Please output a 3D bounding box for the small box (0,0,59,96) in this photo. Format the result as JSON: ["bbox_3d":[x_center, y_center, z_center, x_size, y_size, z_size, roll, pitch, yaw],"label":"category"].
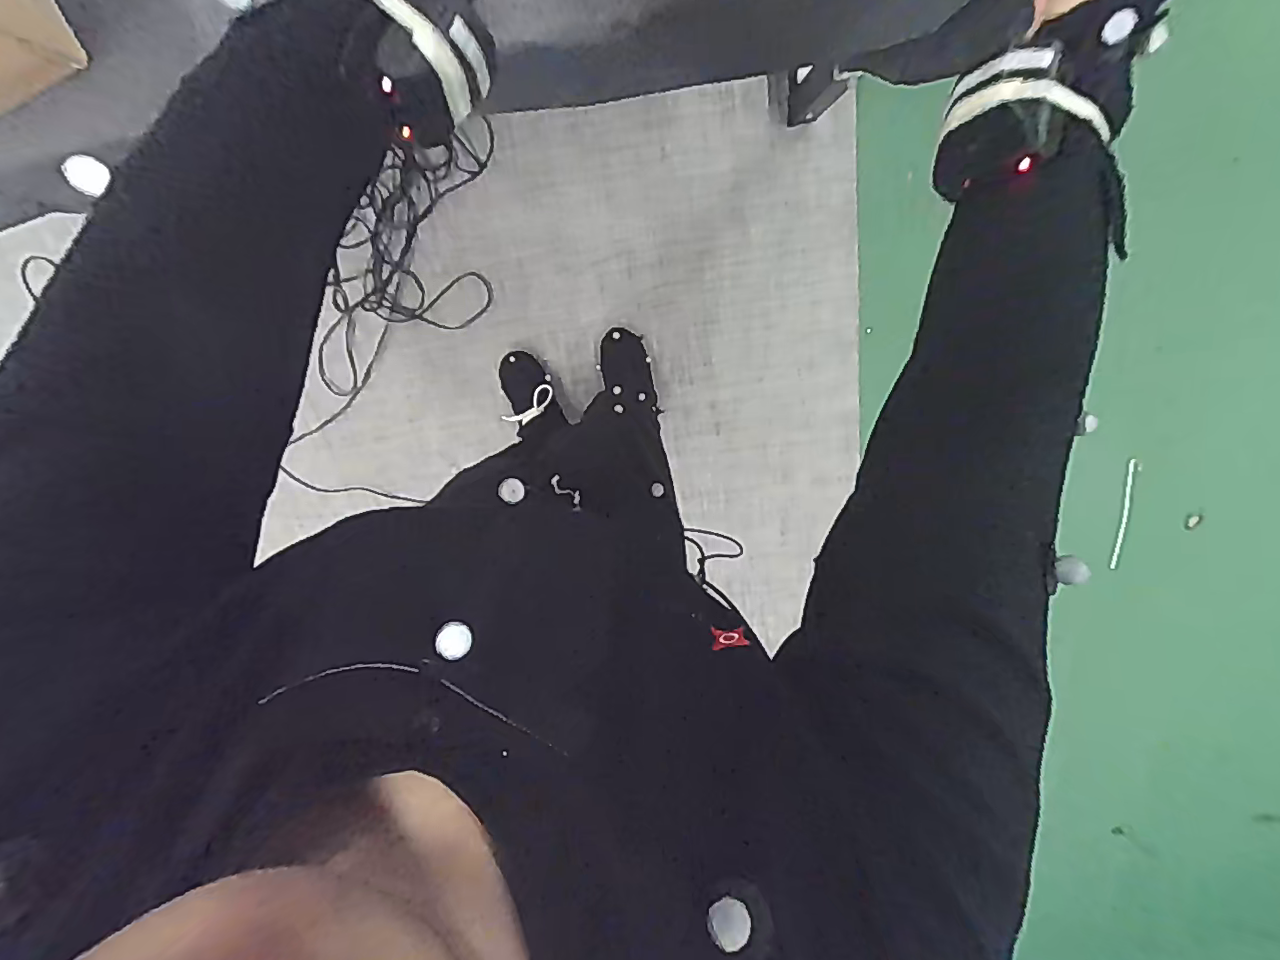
[{"bbox_3d":[-0.588,-0.385,0.378,0.179,0.176,0.168,-18,109,9],"label":"small box"}]
